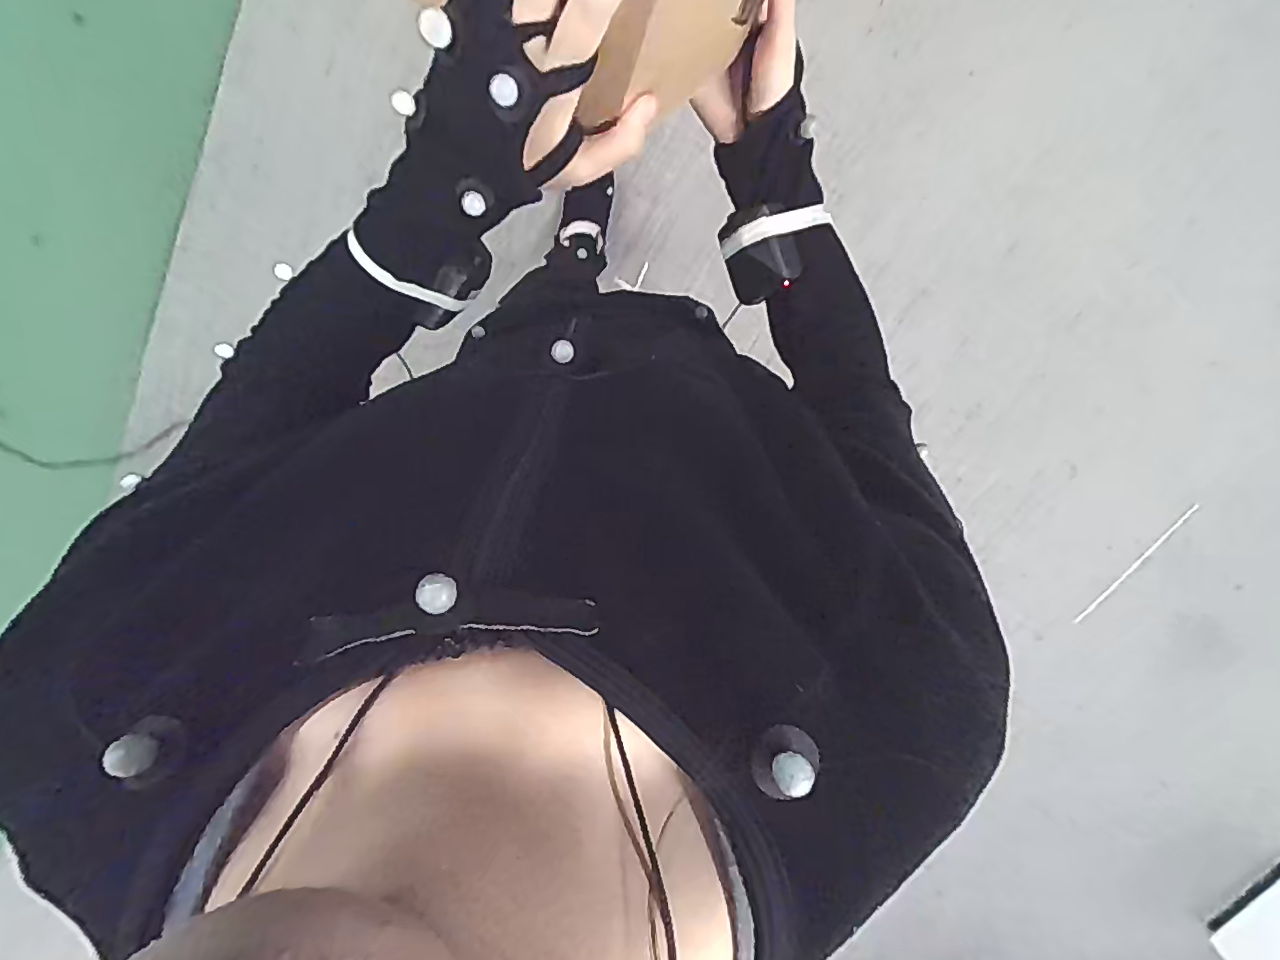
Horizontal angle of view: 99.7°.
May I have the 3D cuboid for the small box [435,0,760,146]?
[{"bbox_3d":[-0.013,-0.321,0.263,0.176,0.168,0.179,41,63,-4],"label":"small box"}]
